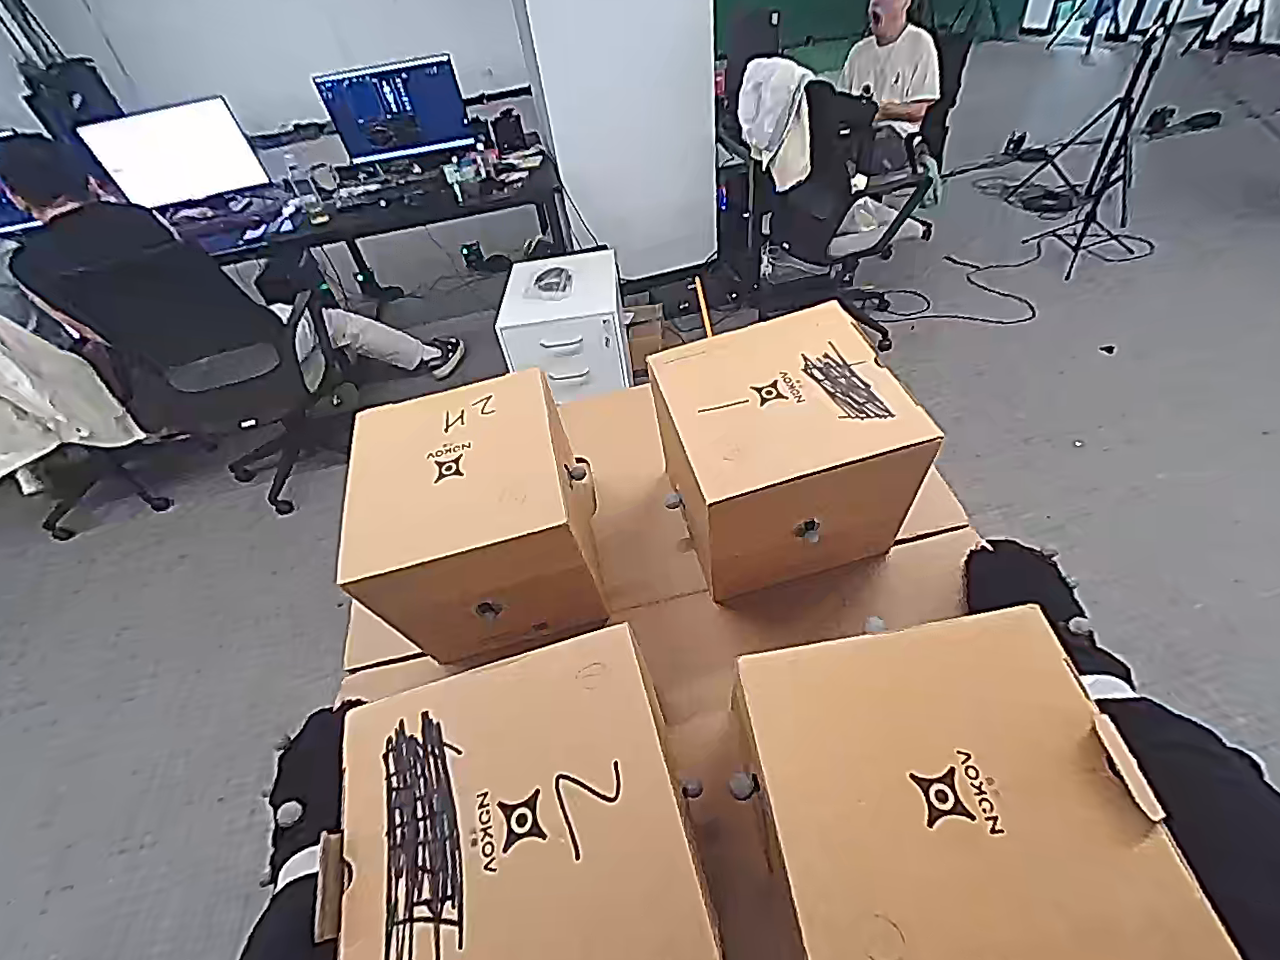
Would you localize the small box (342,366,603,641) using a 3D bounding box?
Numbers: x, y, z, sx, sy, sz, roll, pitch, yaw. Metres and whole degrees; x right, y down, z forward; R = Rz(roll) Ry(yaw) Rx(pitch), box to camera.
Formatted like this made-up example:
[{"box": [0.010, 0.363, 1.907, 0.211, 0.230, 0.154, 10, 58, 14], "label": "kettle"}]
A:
[{"box": [-0.137, 0.031, 0.493, 0.168, 0.176, 0.179, -14, 53, -1], "label": "small box"}]

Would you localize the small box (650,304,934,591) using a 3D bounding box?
[{"box": [0.119, -0.022, 0.488, 0.179, 0.176, 0.168, -16, 53, -1], "label": "small box"}]
